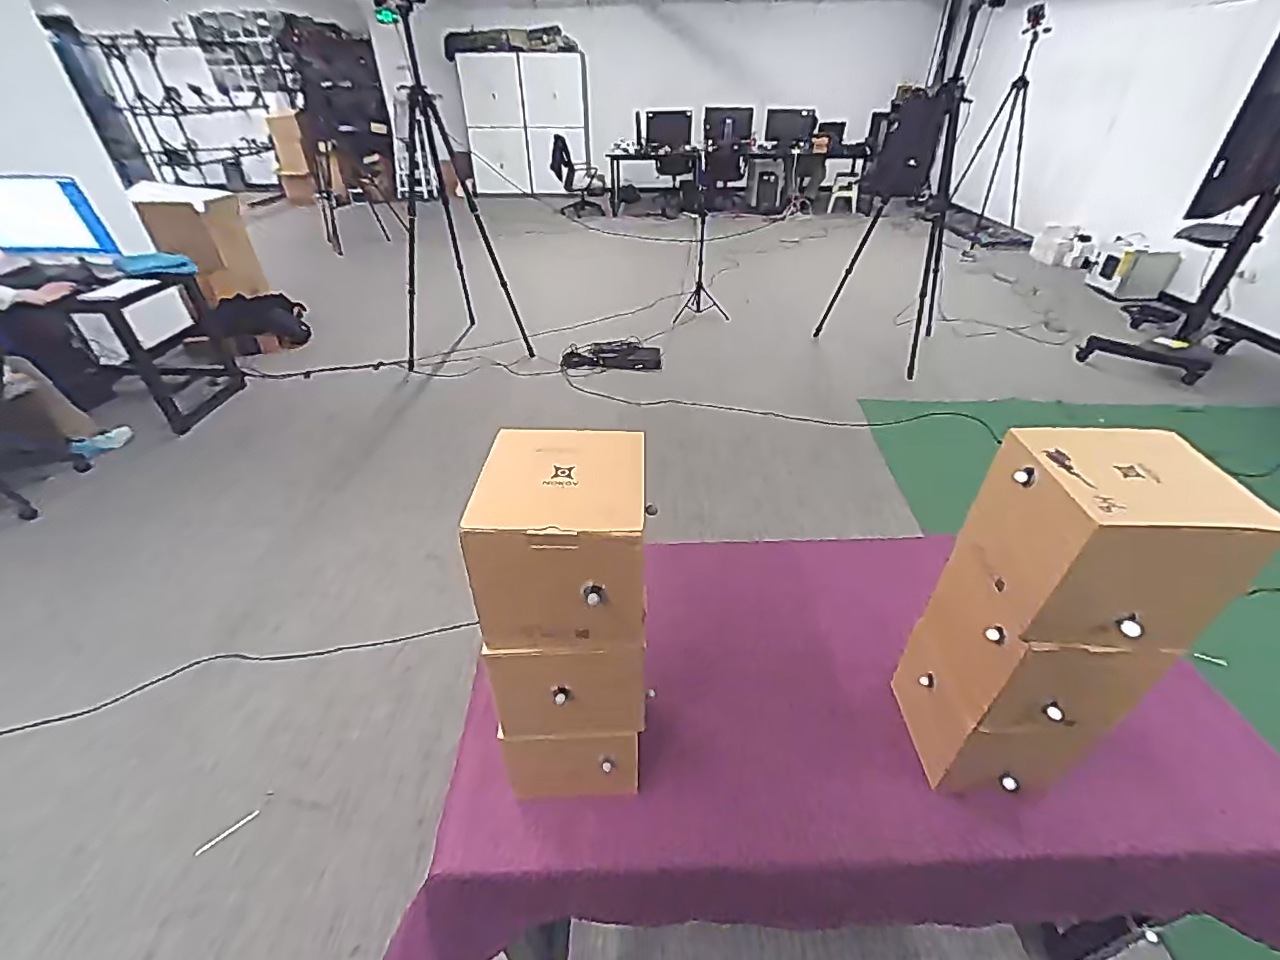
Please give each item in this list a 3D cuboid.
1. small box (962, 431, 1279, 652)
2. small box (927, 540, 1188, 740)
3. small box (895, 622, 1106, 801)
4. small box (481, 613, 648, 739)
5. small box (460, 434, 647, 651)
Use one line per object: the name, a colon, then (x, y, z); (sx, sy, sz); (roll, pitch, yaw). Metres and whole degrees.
small box: (0.490, 0.065, 0.580); (0.179, 0.176, 0.168); (3, 37, 3)
small box: (0.493, 0.196, 0.679); (0.168, 0.176, 0.179); (1, 37, 2)
small box: (0.492, 0.328, 0.775); (0.168, 0.176, 0.179); (0, 37, 2)
small box: (-0.083, 0.202, 0.676); (0.179, 0.176, 0.168); (-2, 36, -2)
small box: (-0.077, 0.066, 0.586); (0.168, 0.176, 0.179); (2, 36, 0)
